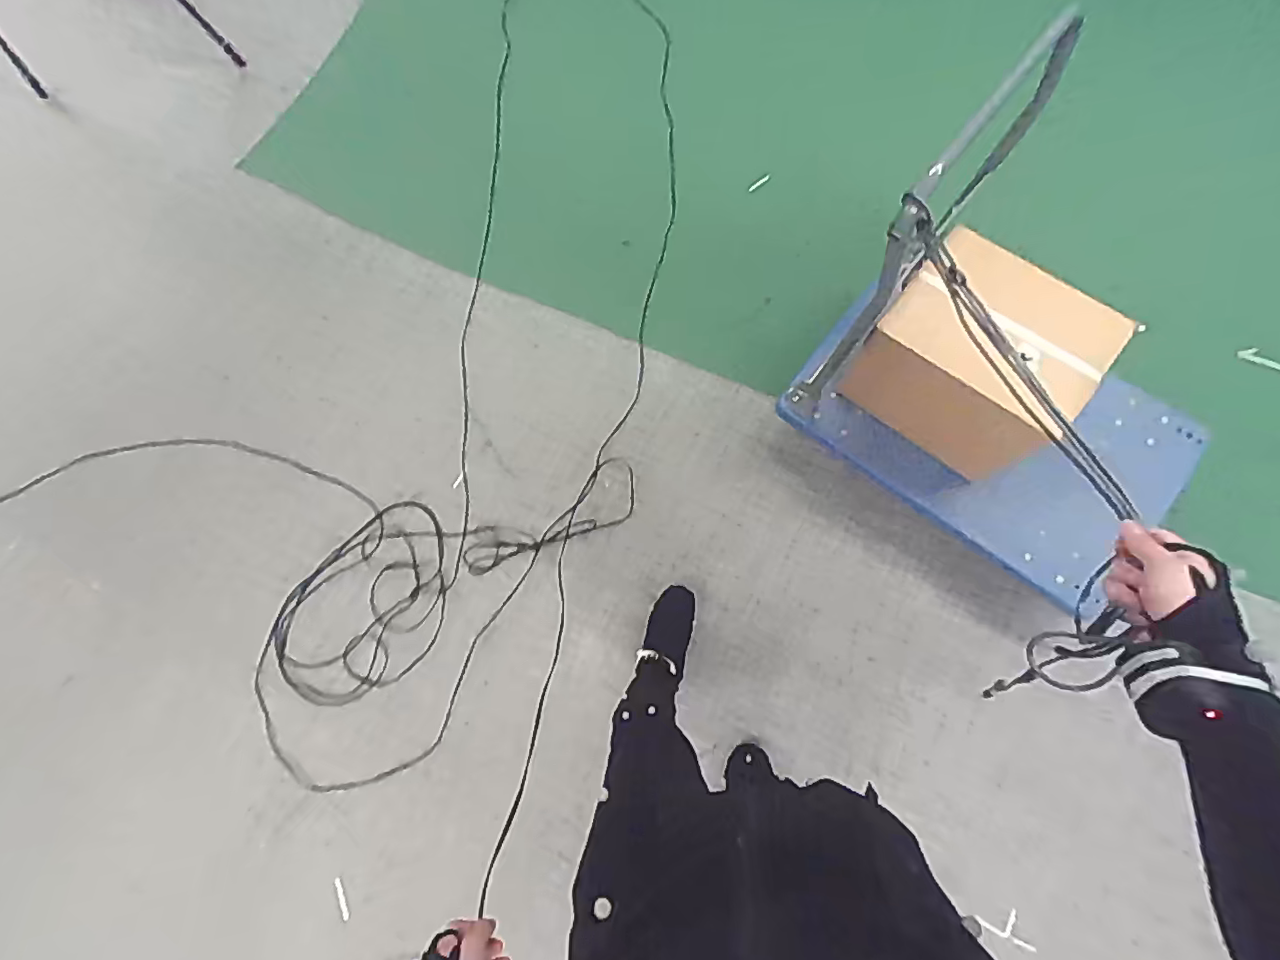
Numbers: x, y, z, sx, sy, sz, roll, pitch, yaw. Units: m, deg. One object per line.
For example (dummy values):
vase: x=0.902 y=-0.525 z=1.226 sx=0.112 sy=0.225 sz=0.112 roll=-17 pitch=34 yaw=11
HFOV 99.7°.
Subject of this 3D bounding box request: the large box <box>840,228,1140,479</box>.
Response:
large box: x=0.739 y=-0.266 z=1.215 sx=0.408 sy=0.320 sz=0.320 roll=38 pitch=81 yaw=12
